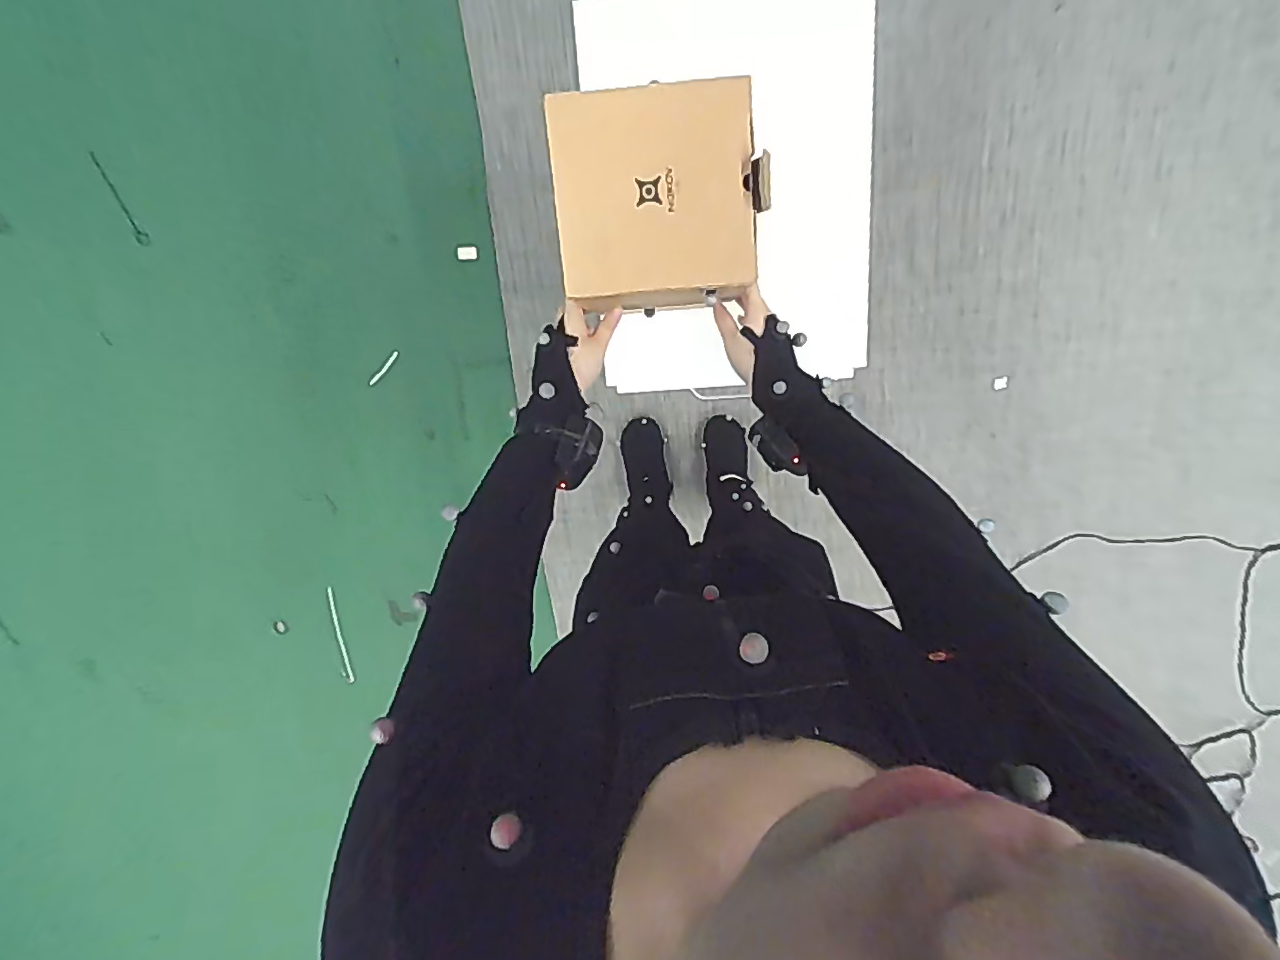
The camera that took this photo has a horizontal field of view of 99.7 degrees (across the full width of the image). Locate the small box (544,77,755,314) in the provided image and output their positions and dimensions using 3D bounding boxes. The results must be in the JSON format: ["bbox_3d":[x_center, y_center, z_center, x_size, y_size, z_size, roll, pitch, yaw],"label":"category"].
[{"bbox_3d":[0.012,-0.266,0.548,0.179,0.176,0.168,-5,102,1],"label":"small box"}]
